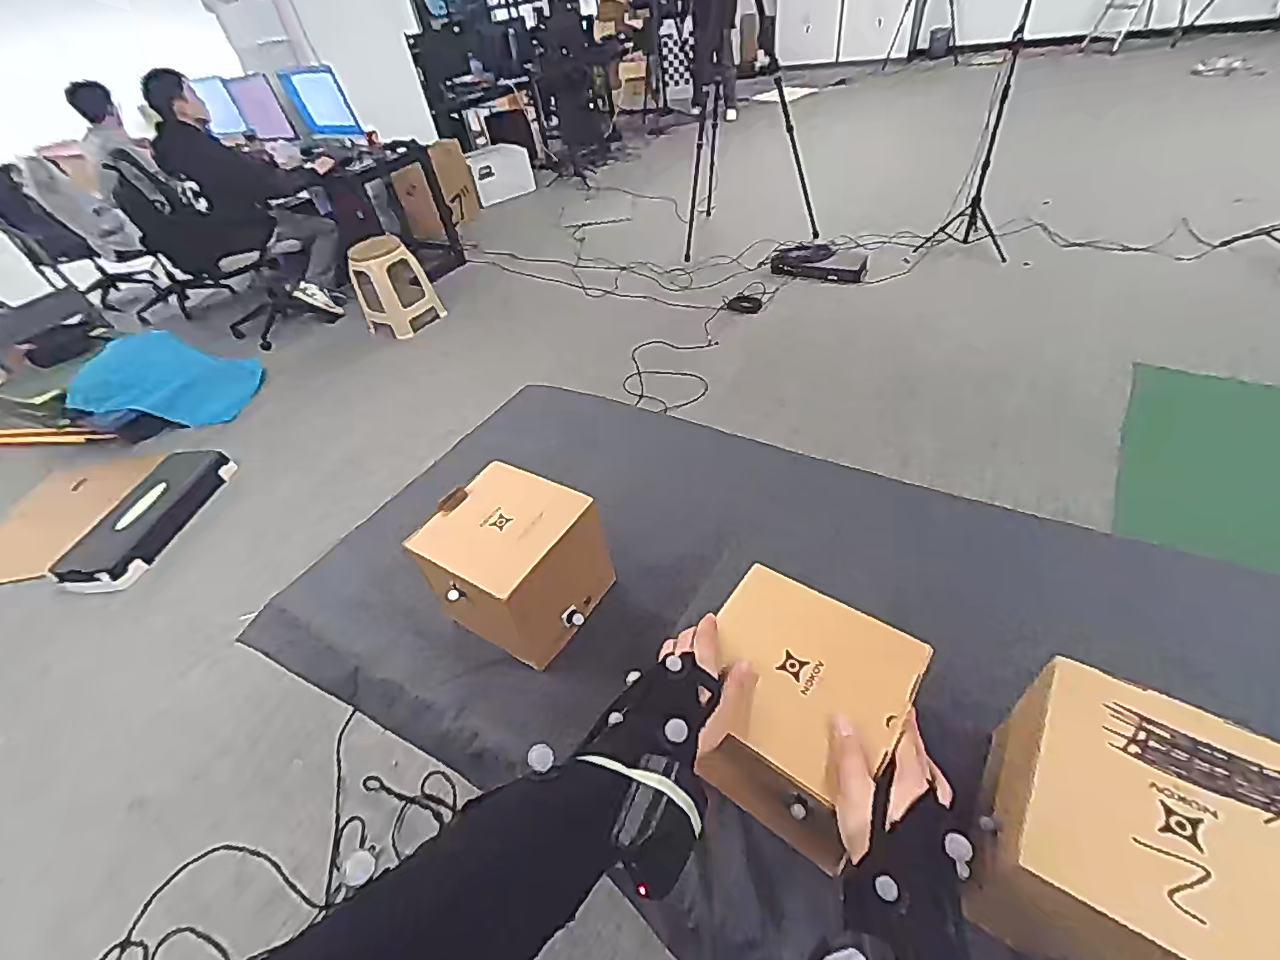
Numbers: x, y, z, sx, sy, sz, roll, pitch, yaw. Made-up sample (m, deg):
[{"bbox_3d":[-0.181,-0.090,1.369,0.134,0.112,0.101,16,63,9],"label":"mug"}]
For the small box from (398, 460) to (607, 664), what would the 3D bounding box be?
[{"bbox_3d":[-0.165,0.106,0.699,0.179,0.176,0.168,20,51,27],"label":"small box"}]

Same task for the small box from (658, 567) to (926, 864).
[{"bbox_3d":[0.139,0.223,0.520,0.179,0.176,0.168,24,52,31],"label":"small box"}]
